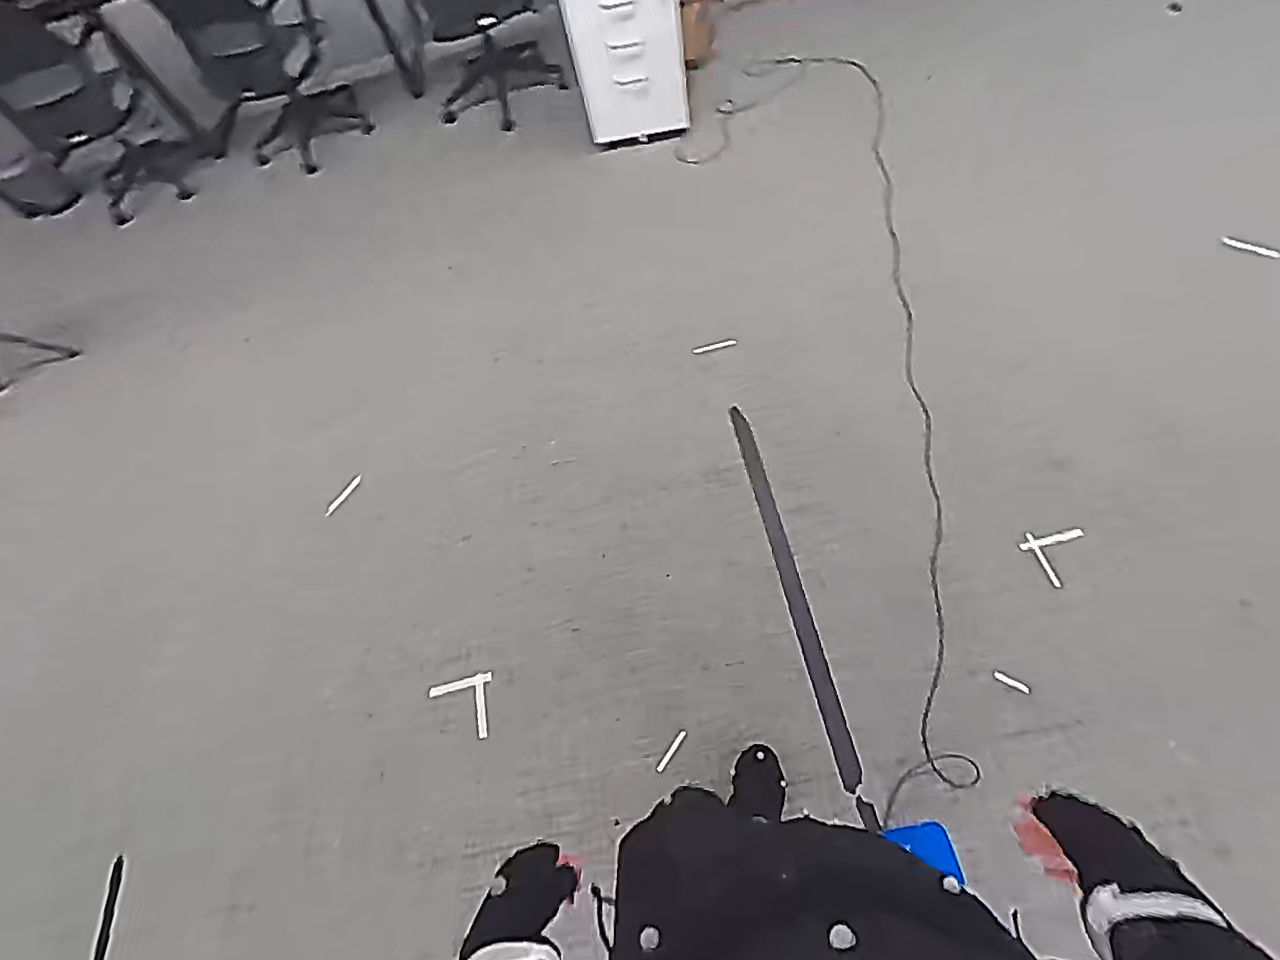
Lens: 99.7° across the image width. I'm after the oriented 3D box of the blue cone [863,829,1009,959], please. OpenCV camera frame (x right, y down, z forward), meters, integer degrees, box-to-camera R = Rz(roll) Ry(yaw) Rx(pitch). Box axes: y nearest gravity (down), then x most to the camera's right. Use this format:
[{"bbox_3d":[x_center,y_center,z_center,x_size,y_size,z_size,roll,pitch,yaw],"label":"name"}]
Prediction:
[{"bbox_3d":[0.529,0.734,0.922,0.193,0.380,0.192,-15,60,3],"label":"blue cone"}]
